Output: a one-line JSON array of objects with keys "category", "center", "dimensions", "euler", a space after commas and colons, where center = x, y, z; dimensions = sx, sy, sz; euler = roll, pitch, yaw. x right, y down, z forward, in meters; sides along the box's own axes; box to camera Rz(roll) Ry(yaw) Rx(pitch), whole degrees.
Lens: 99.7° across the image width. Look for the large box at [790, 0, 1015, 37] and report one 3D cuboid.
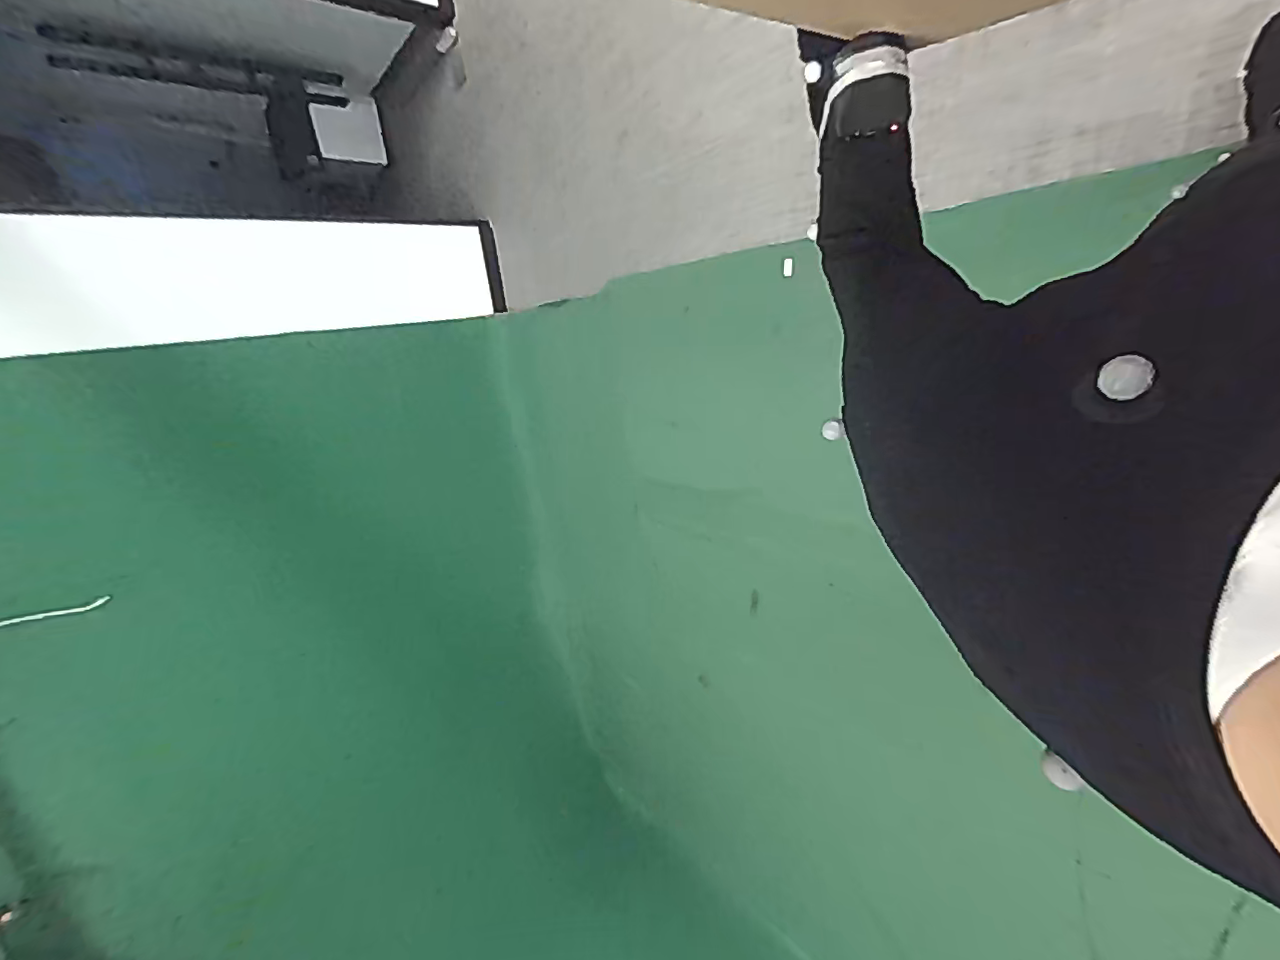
[{"category": "large box", "center": [0.160, -0.415, 0.172], "dimensions": [0.408, 0.320, 0.320], "euler": [-123, 36, -58]}]
